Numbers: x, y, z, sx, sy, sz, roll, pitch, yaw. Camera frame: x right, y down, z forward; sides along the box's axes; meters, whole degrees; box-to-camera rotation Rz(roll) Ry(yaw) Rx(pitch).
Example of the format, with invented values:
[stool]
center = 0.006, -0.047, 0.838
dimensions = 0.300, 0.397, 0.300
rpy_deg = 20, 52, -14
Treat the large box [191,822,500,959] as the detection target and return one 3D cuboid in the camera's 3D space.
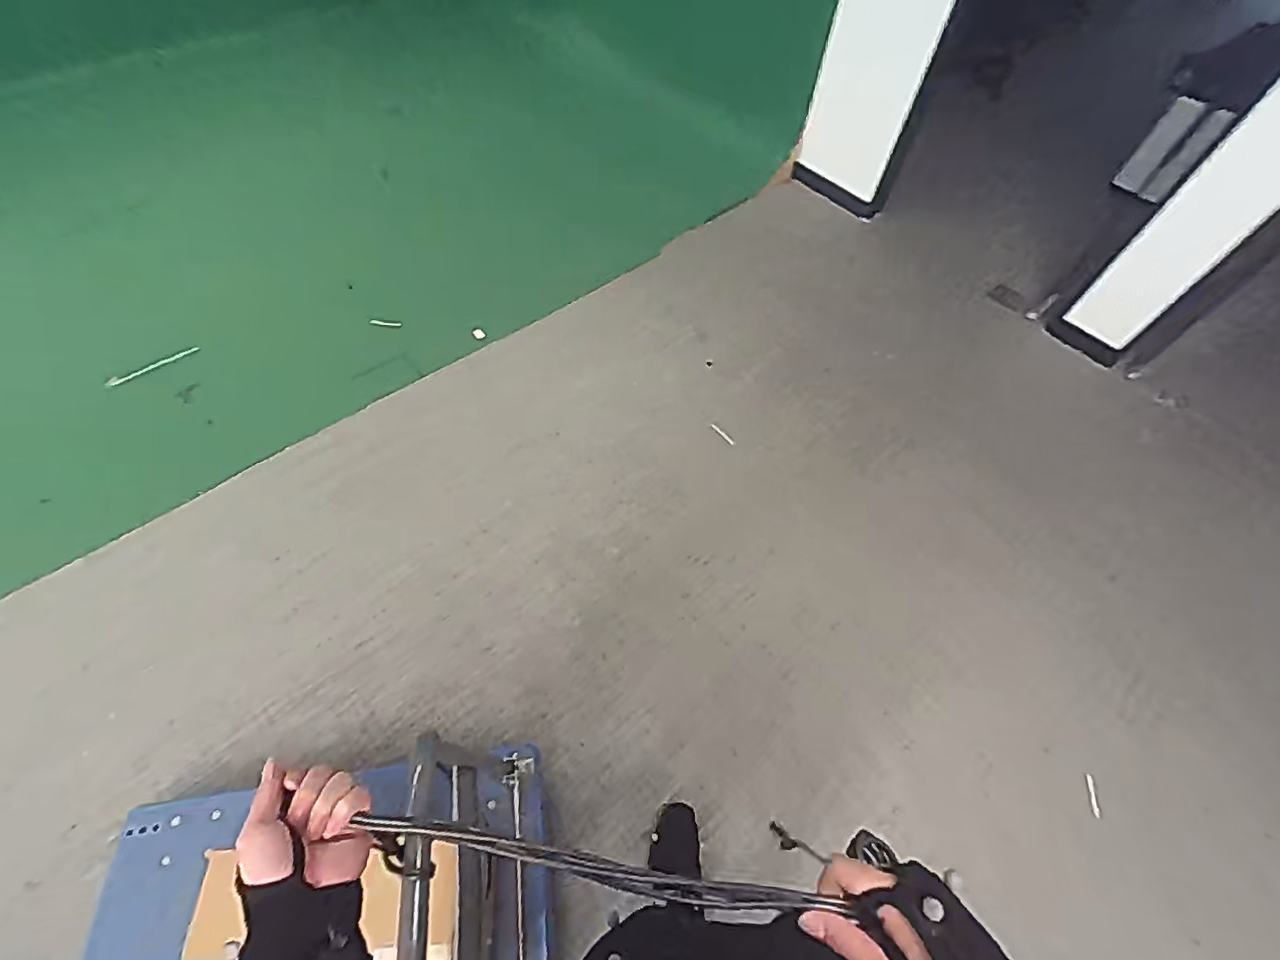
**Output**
[large box]
center = -0.475, 0.800, 0.938
dimensions = 0.408, 0.320, 0.320
rpy_deg = -3, 59, -3
